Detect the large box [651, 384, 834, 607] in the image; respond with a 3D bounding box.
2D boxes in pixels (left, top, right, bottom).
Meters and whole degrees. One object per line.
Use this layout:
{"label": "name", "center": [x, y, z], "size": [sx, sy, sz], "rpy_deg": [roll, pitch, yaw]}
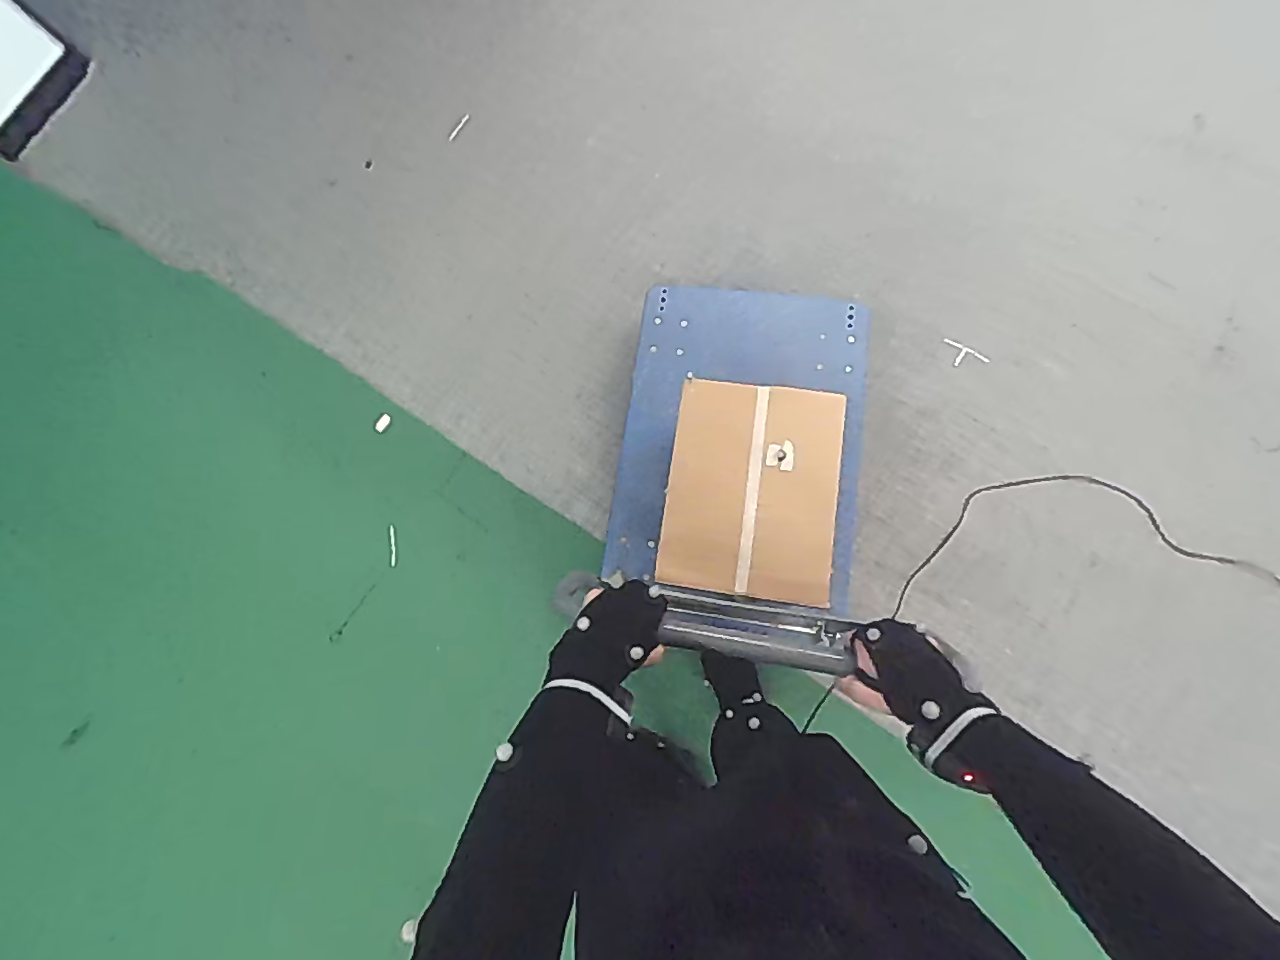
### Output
{"label": "large box", "center": [0.212, 0.050, 1.164], "size": [0.320, 0.320, 0.408], "rpy_deg": [8, 79, 7]}
